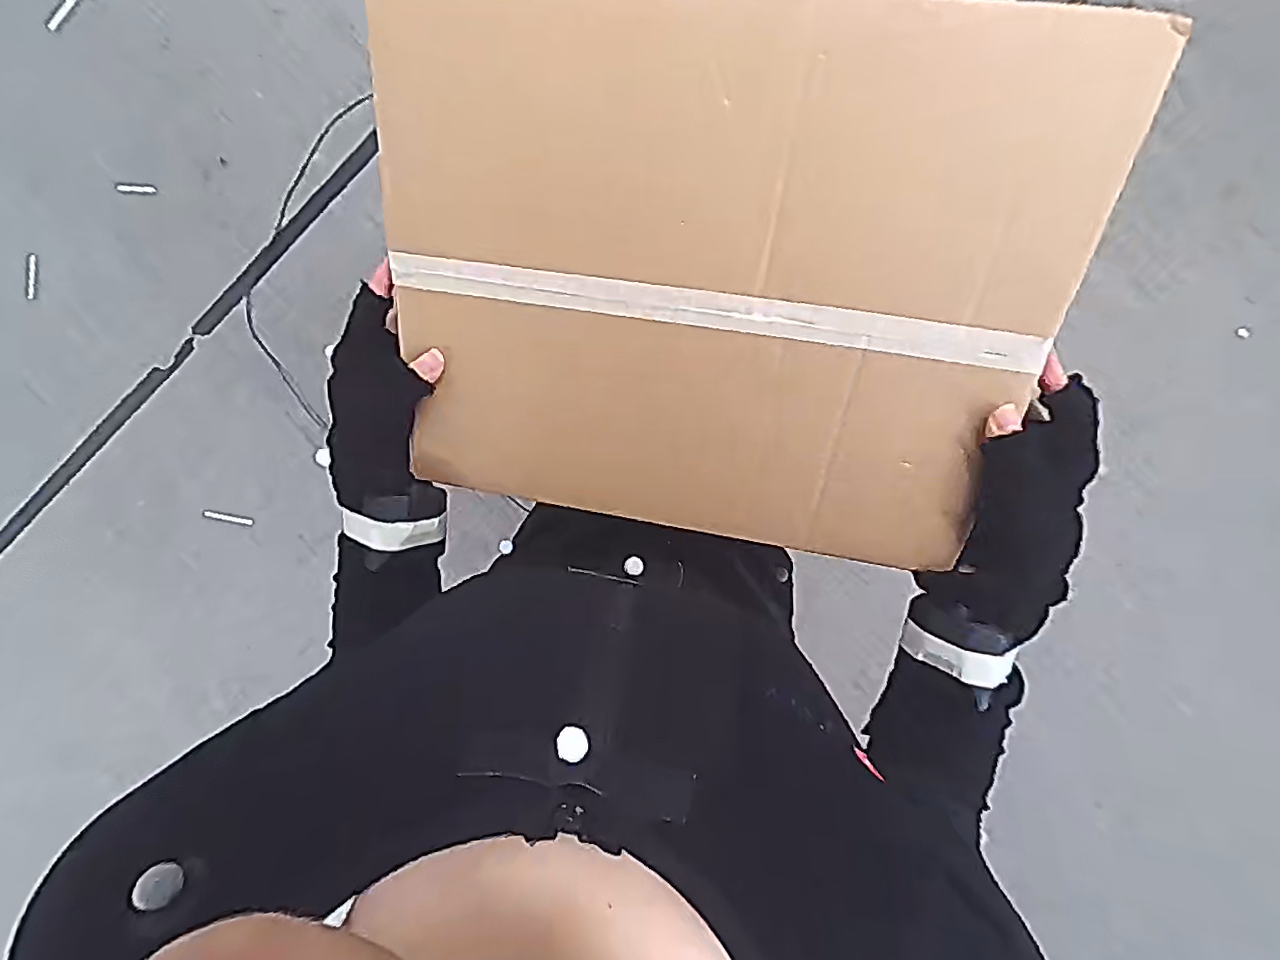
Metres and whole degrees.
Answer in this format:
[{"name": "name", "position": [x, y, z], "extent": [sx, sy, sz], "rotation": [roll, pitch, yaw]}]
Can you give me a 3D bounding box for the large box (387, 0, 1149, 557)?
[{"name": "large box", "position": [0.060, -0.171, 0.478], "extent": [0.408, 0.320, 0.320], "rotation": [10, 117, 6]}]
